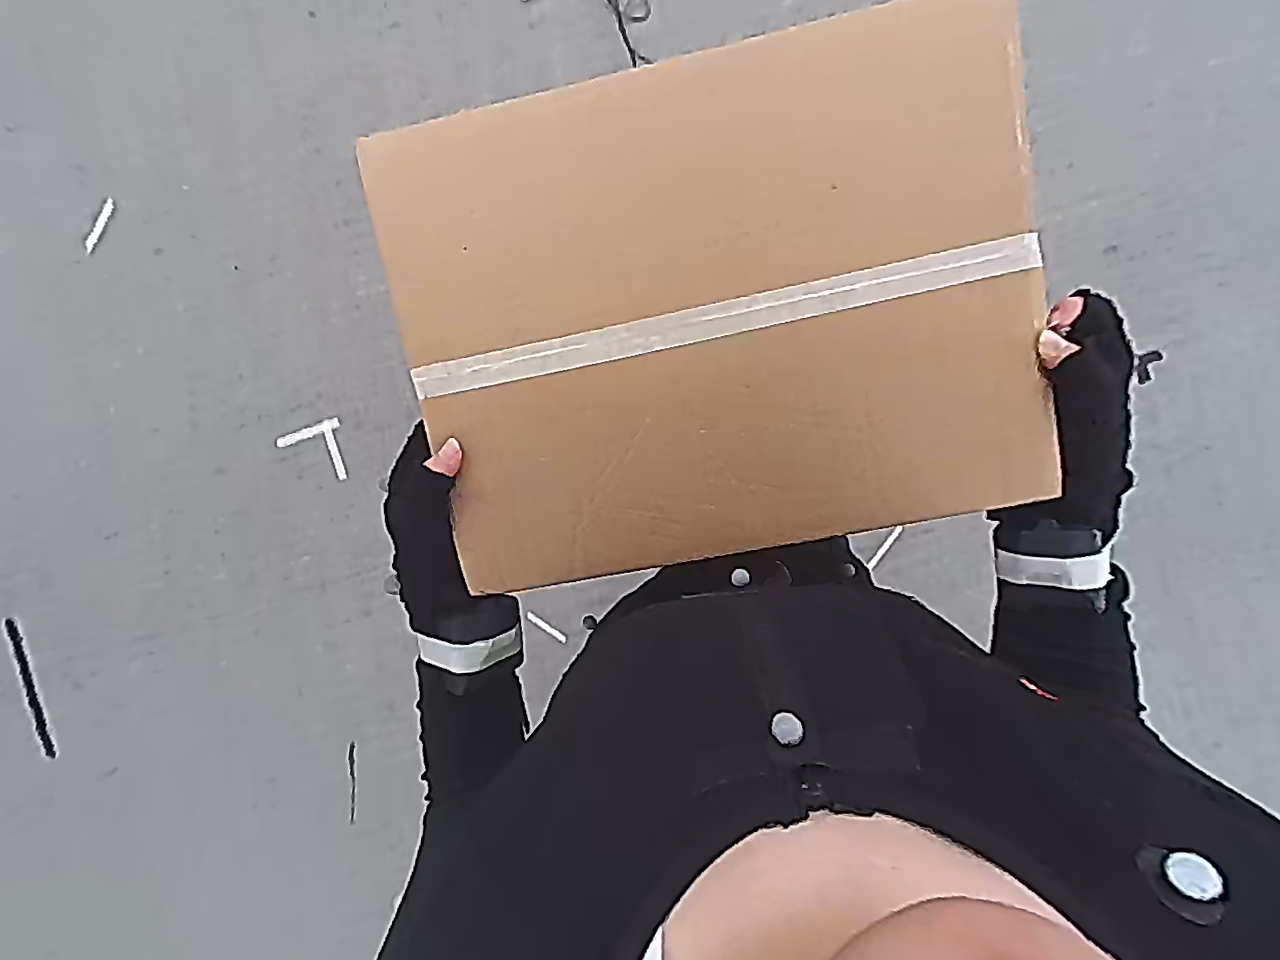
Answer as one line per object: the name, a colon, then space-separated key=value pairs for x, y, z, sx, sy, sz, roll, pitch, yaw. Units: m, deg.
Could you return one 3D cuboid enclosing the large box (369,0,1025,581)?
large box: x=0.051 y=-0.133 z=0.510 sx=0.408 sy=0.320 sz=0.320 roll=-10 pitch=98 yaw=5
